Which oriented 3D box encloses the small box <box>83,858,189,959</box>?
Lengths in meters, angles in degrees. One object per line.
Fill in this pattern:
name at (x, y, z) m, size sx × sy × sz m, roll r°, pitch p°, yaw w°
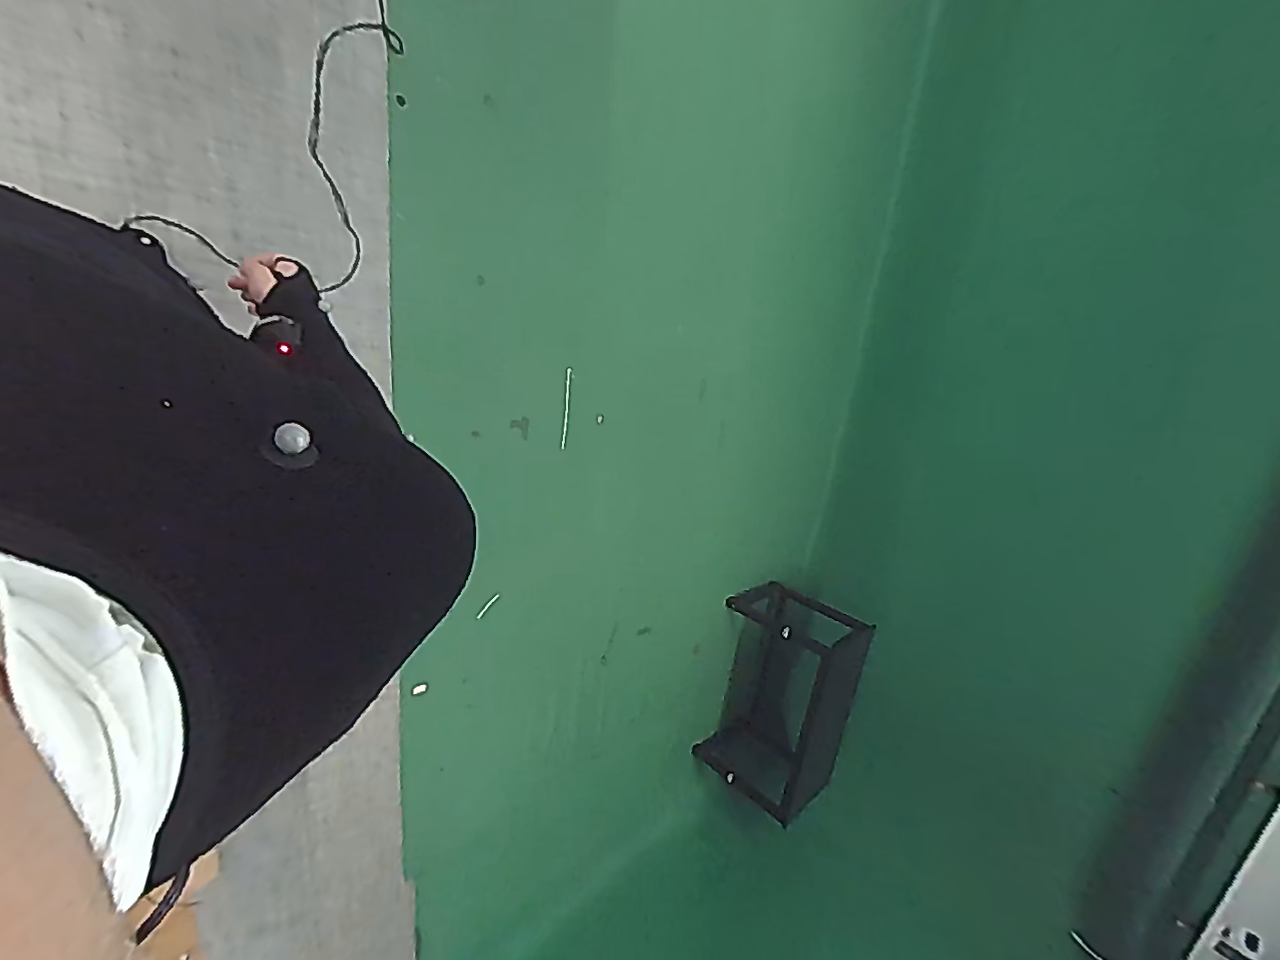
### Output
small box at (-1.219, 1.075, 1.305) m, size 0.179 × 0.176 × 0.168 m, roll 0°, pitch 108°, yaw -48°
